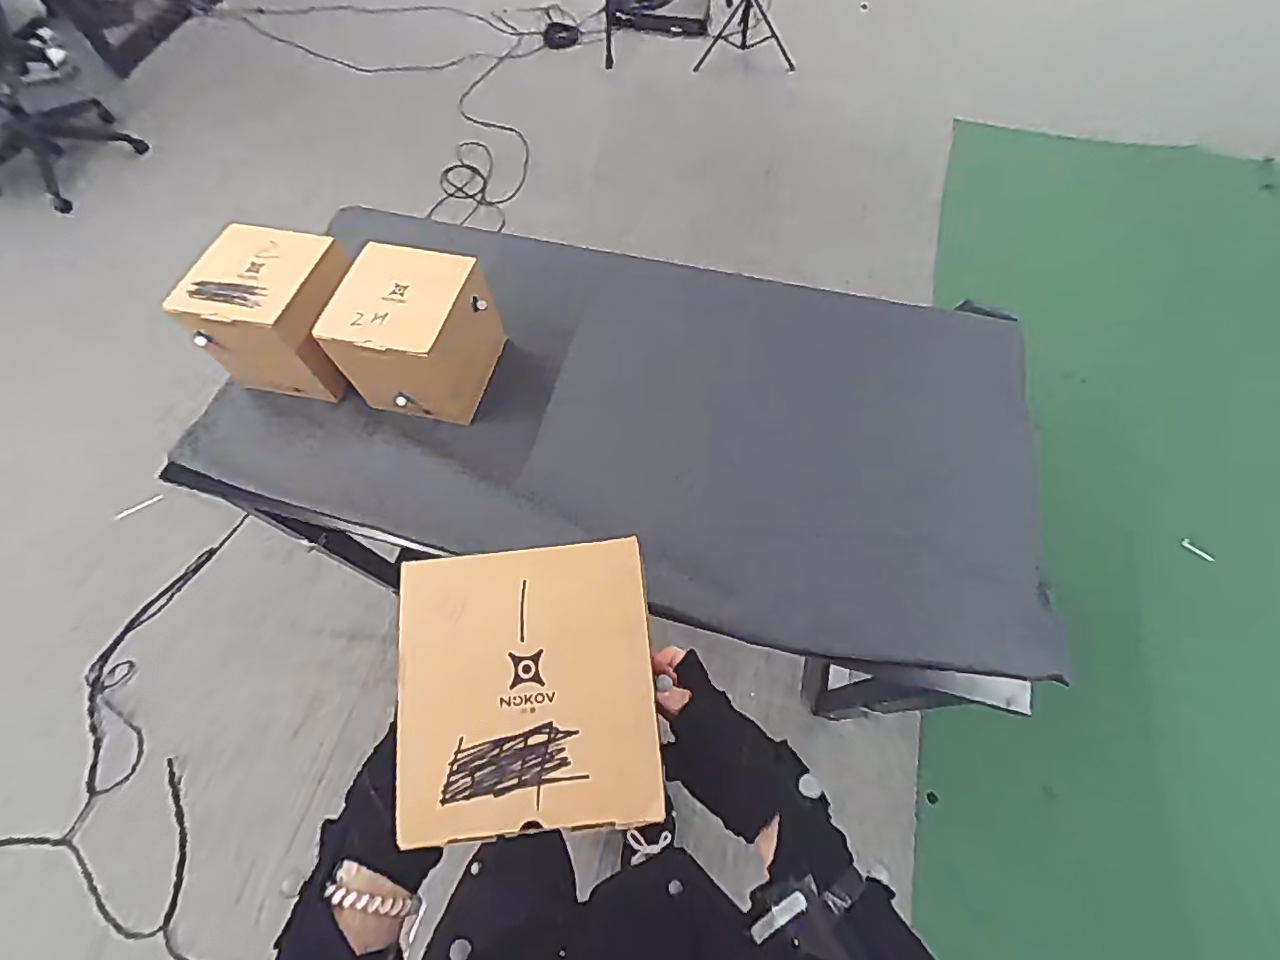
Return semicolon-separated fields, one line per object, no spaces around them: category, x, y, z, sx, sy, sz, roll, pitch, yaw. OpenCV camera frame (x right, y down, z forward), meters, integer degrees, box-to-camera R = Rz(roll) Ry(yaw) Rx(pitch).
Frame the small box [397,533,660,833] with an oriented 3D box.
small box;-0.072;0.147;0.428;0.168;0.176;0.179;-5;73;0
